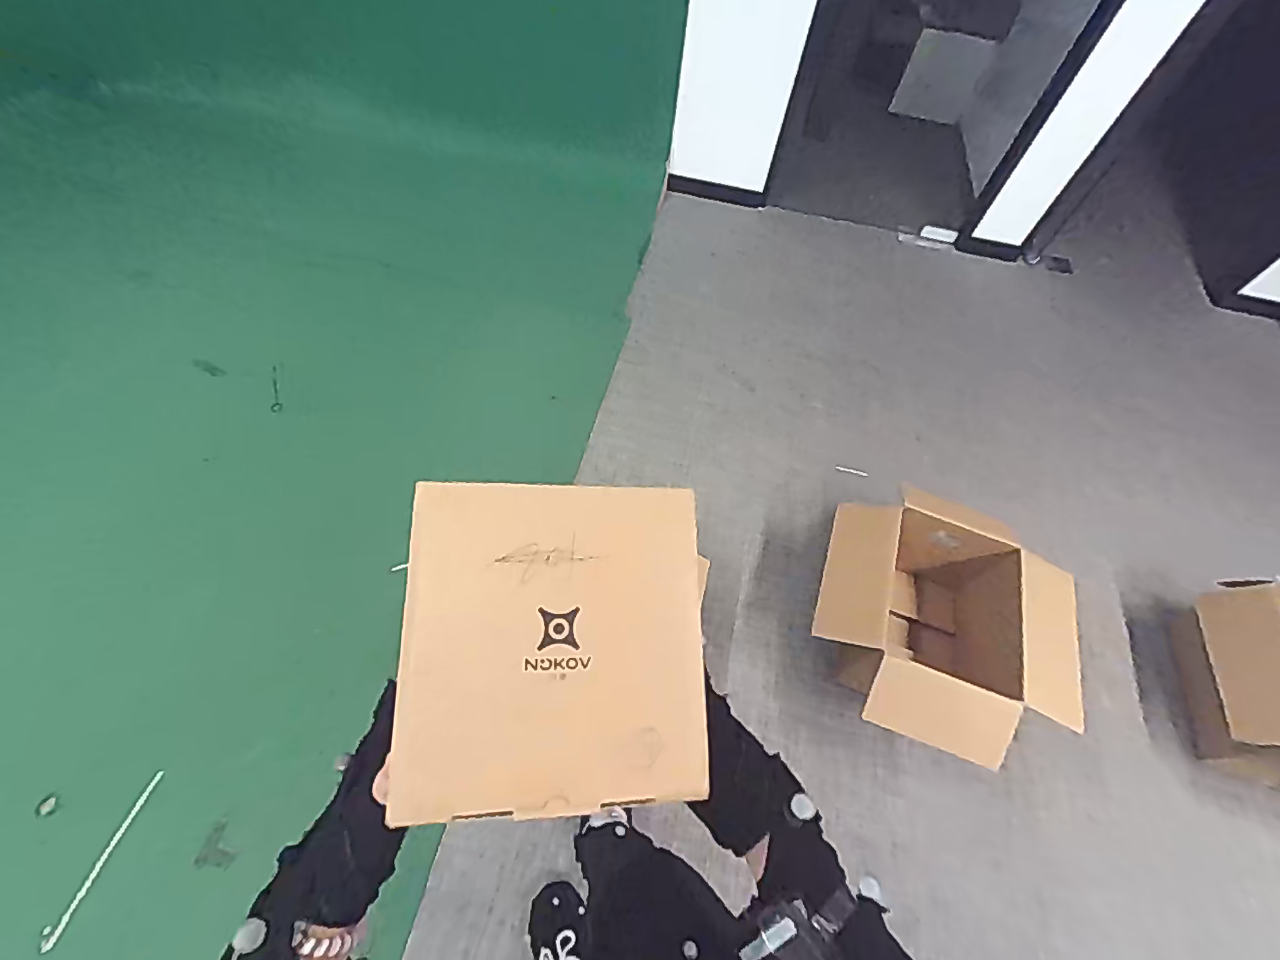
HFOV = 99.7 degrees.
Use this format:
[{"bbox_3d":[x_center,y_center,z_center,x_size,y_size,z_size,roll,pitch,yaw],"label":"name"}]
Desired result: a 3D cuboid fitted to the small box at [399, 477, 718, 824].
[{"bbox_3d":[-0.054,0.104,0.372,0.168,0.176,0.179,2,75,-12],"label":"small box"}]
